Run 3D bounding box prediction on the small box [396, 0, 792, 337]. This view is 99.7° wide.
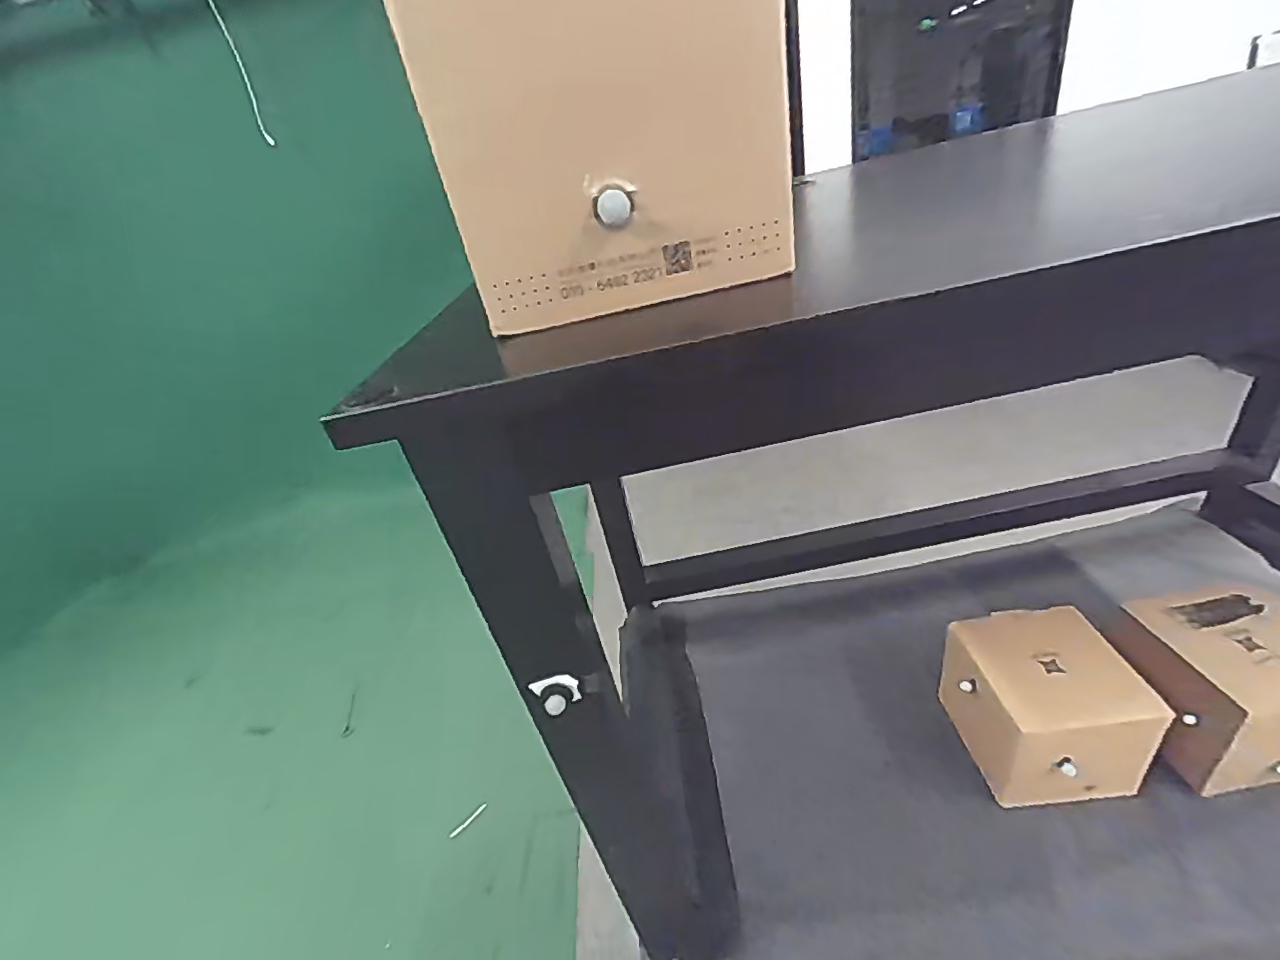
[{"bbox_3d":[-0.017,-0.199,0.321,0.168,0.176,0.179,-12,32,1],"label":"small box"}]

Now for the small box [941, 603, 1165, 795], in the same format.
[{"bbox_3d":[0.531,0.298,0.728,0.168,0.176,0.179,-10,30,6],"label":"small box"}]
